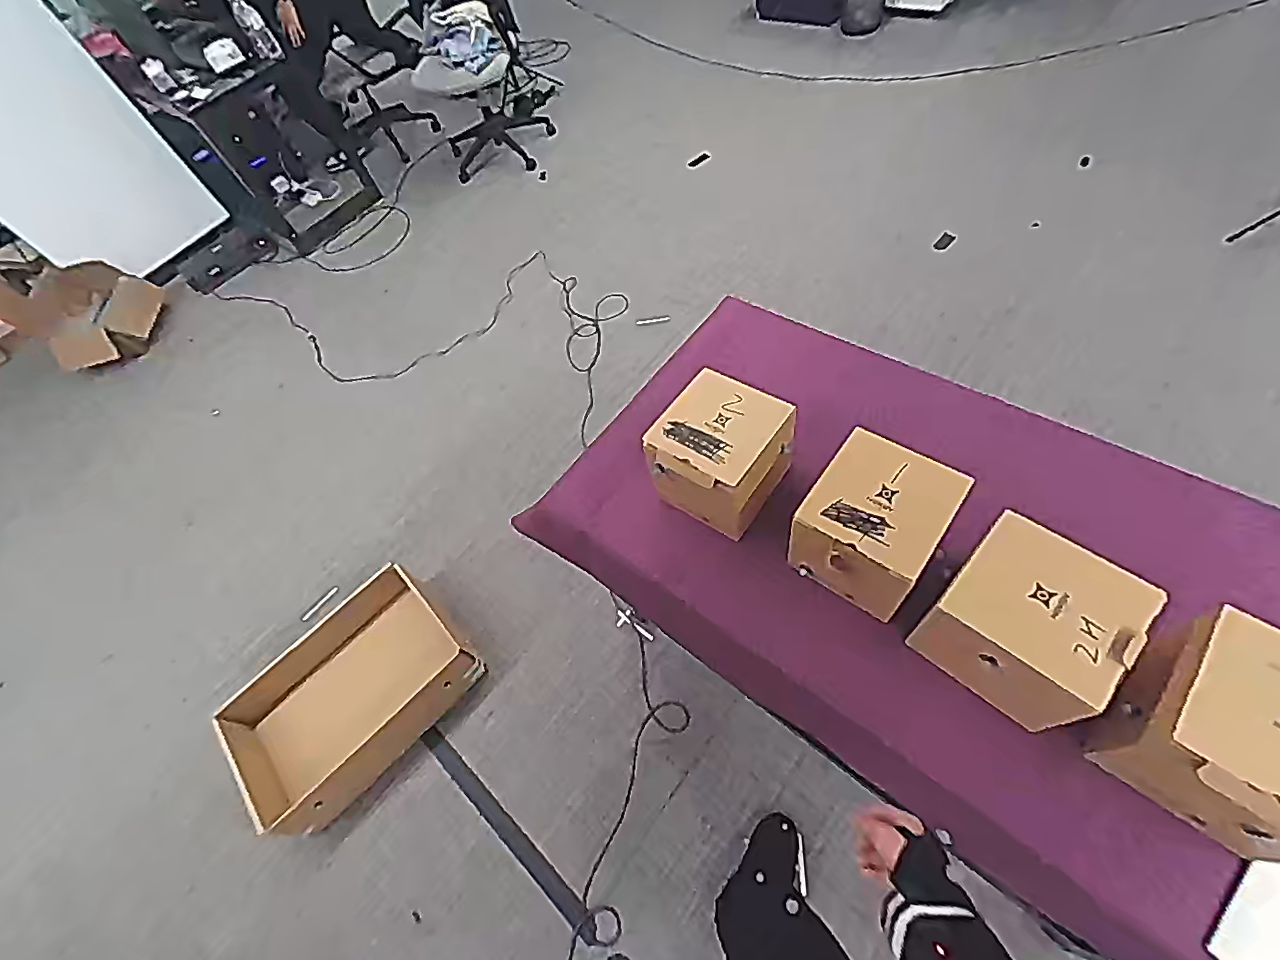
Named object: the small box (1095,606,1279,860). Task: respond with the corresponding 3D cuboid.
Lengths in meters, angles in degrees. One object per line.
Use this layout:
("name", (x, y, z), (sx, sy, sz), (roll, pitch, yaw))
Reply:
("small box", (0.640, 0.273, 0.577), (0.168, 0.176, 0.179), (34, 70, 27))
